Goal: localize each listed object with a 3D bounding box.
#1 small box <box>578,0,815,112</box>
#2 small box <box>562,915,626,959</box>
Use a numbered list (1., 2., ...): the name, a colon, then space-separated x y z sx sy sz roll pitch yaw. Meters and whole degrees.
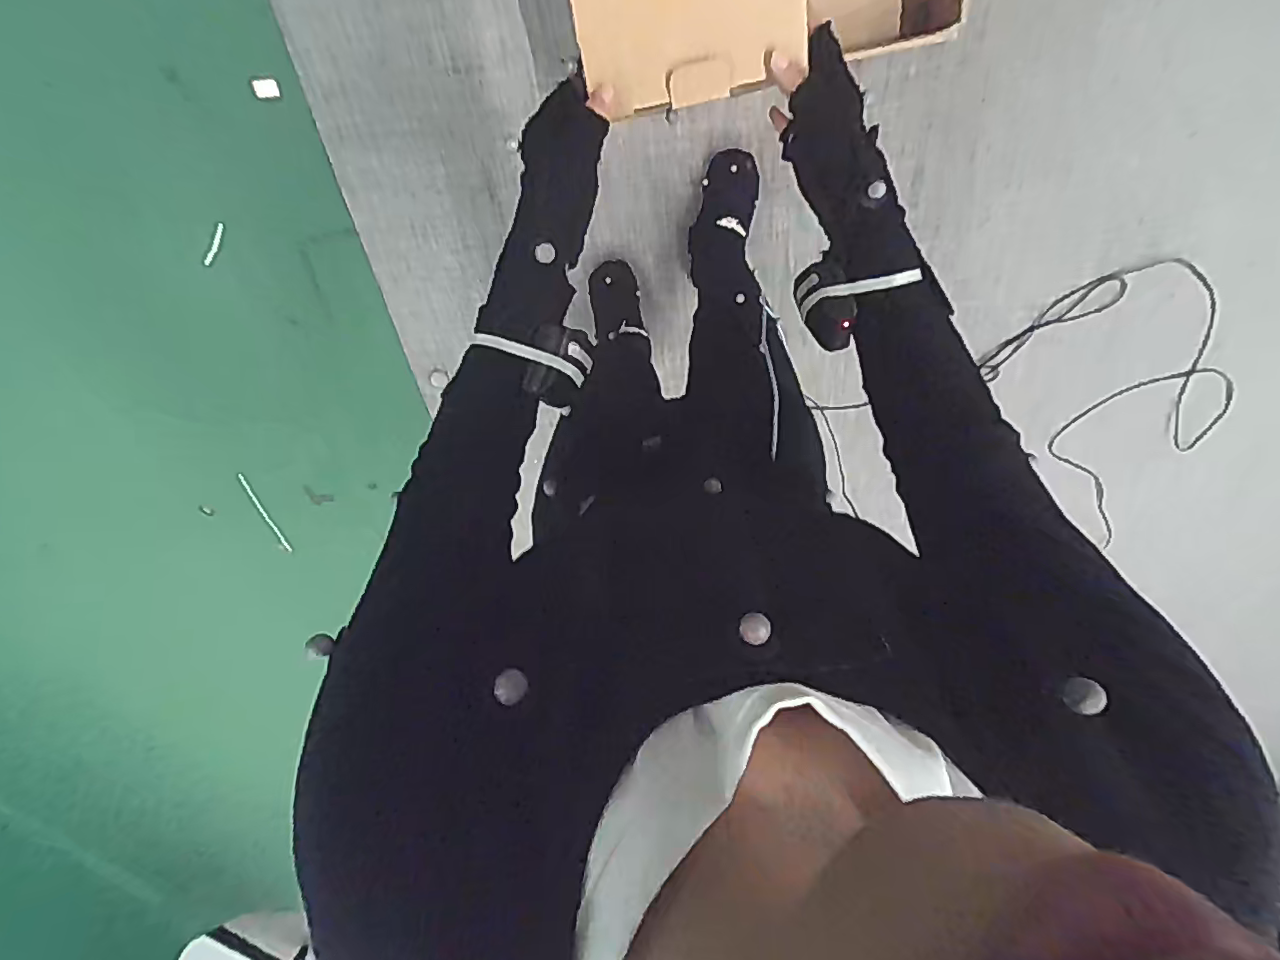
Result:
1. small box: 0.030 -0.409 0.426 0.168 0.176 0.179 -10 124 3
2. small box: -0.137 1.460 1.653 0.168 0.176 0.179 -7 125 5
